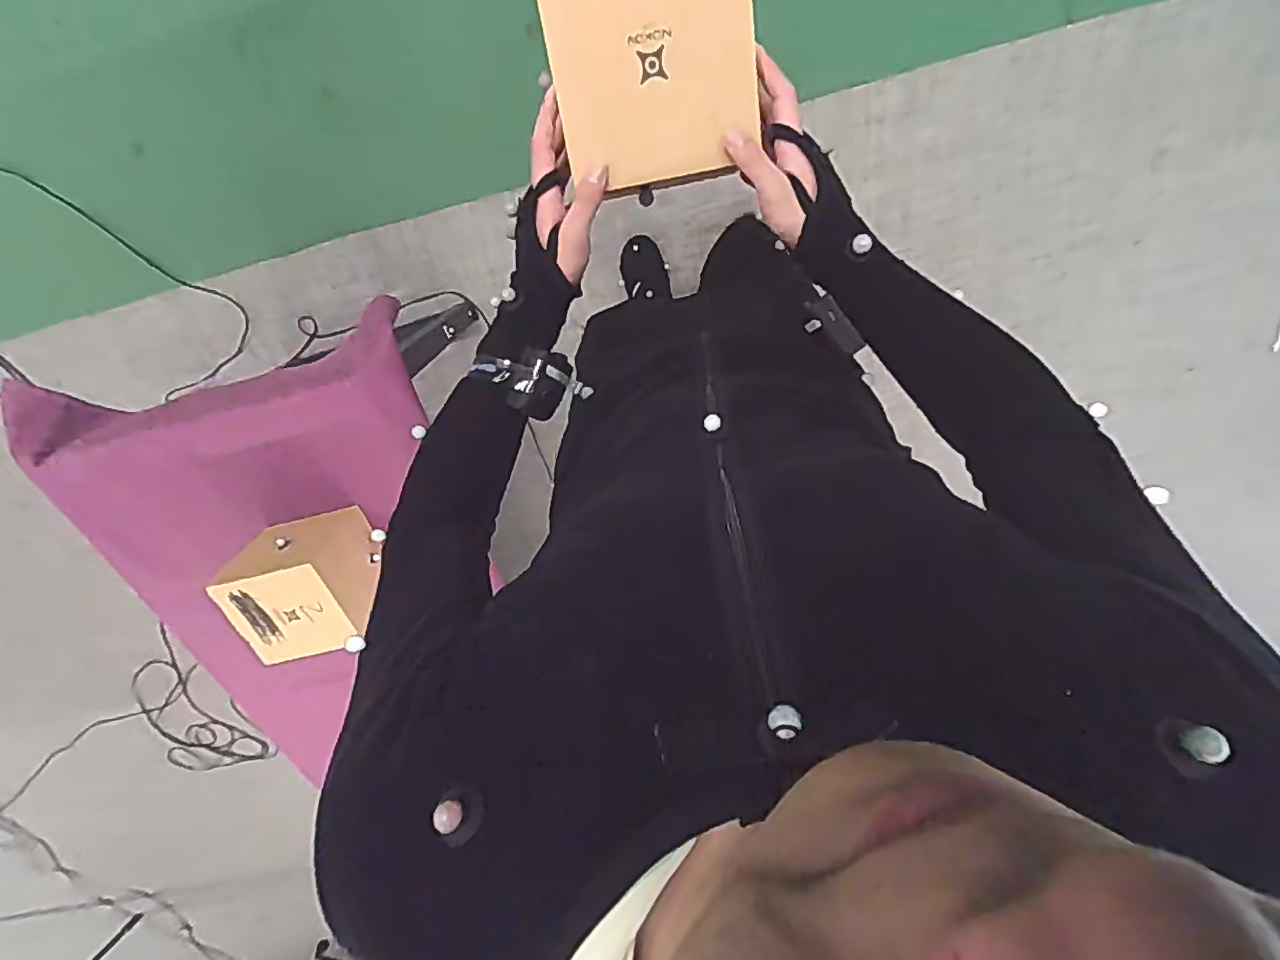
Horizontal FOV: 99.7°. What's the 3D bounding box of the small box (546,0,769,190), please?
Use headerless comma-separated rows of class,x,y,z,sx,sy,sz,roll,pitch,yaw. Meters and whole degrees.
small box,0.018,-0.379,0.496,0.168,0.176,0.179,-9,117,6
